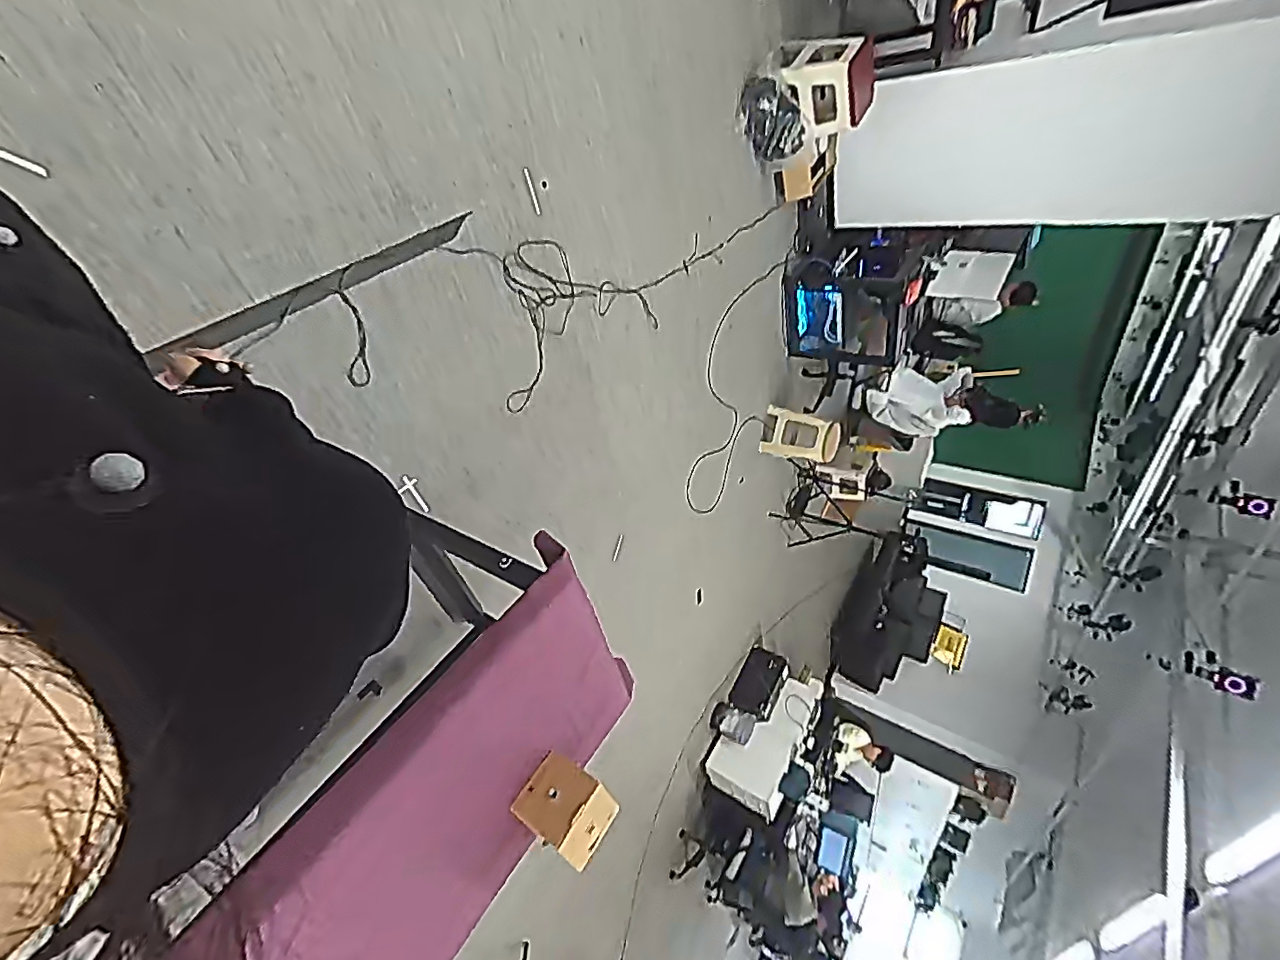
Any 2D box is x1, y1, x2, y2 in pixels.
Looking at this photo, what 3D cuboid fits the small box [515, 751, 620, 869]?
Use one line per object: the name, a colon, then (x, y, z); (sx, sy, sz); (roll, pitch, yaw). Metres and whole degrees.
small box: (-0.181, 0.815, 1.352); (0.168, 0.176, 0.179); (-48, 136, -32)
